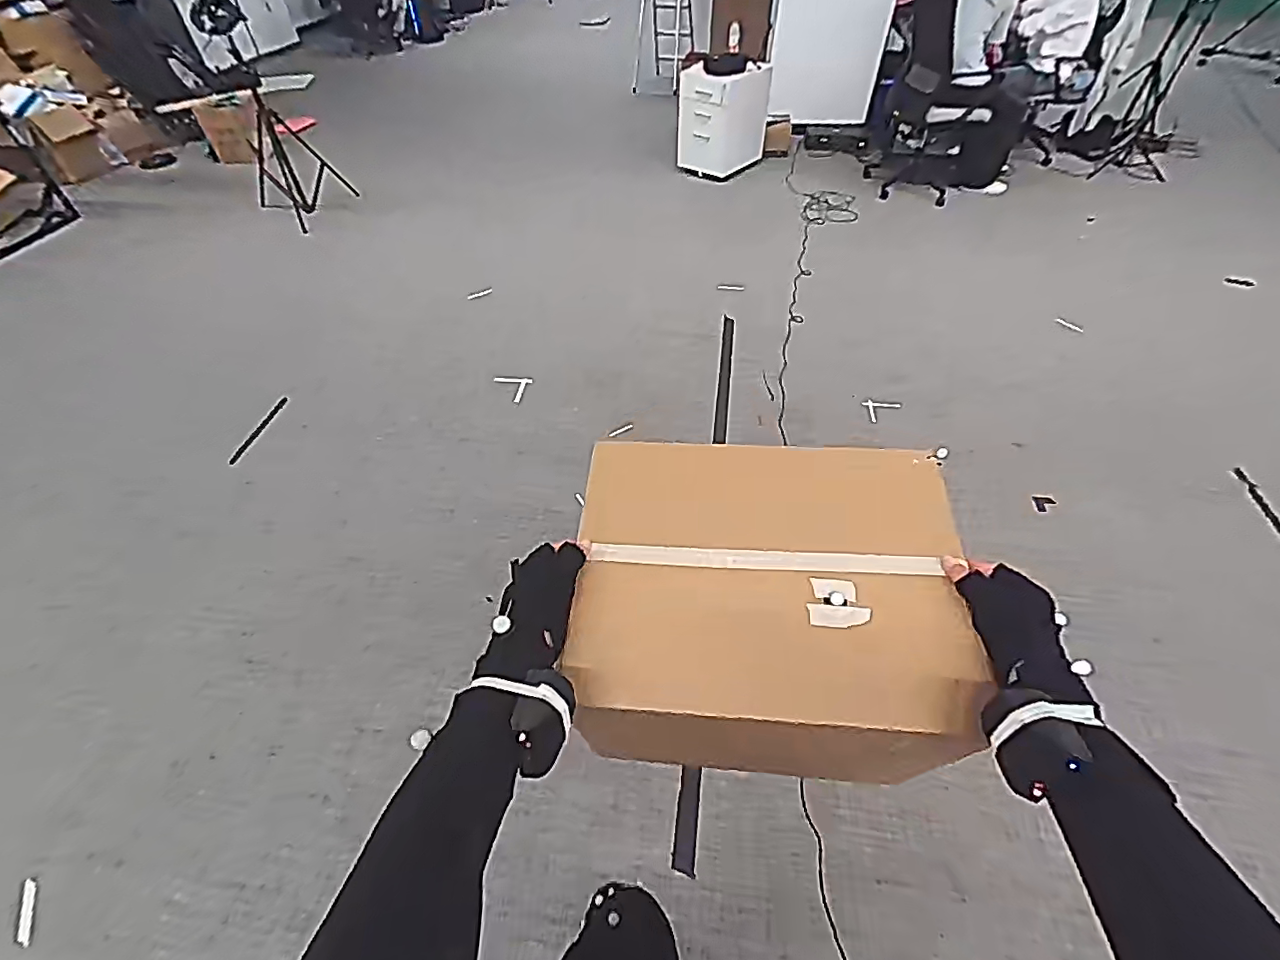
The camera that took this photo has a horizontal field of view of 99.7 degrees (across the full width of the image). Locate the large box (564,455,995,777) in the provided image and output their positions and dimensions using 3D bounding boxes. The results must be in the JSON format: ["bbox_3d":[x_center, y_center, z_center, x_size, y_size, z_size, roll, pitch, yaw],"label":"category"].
[{"bbox_3d":[0.139,0.182,0.705,0.408,0.320,0.320,2,55,5],"label":"large box"}]
